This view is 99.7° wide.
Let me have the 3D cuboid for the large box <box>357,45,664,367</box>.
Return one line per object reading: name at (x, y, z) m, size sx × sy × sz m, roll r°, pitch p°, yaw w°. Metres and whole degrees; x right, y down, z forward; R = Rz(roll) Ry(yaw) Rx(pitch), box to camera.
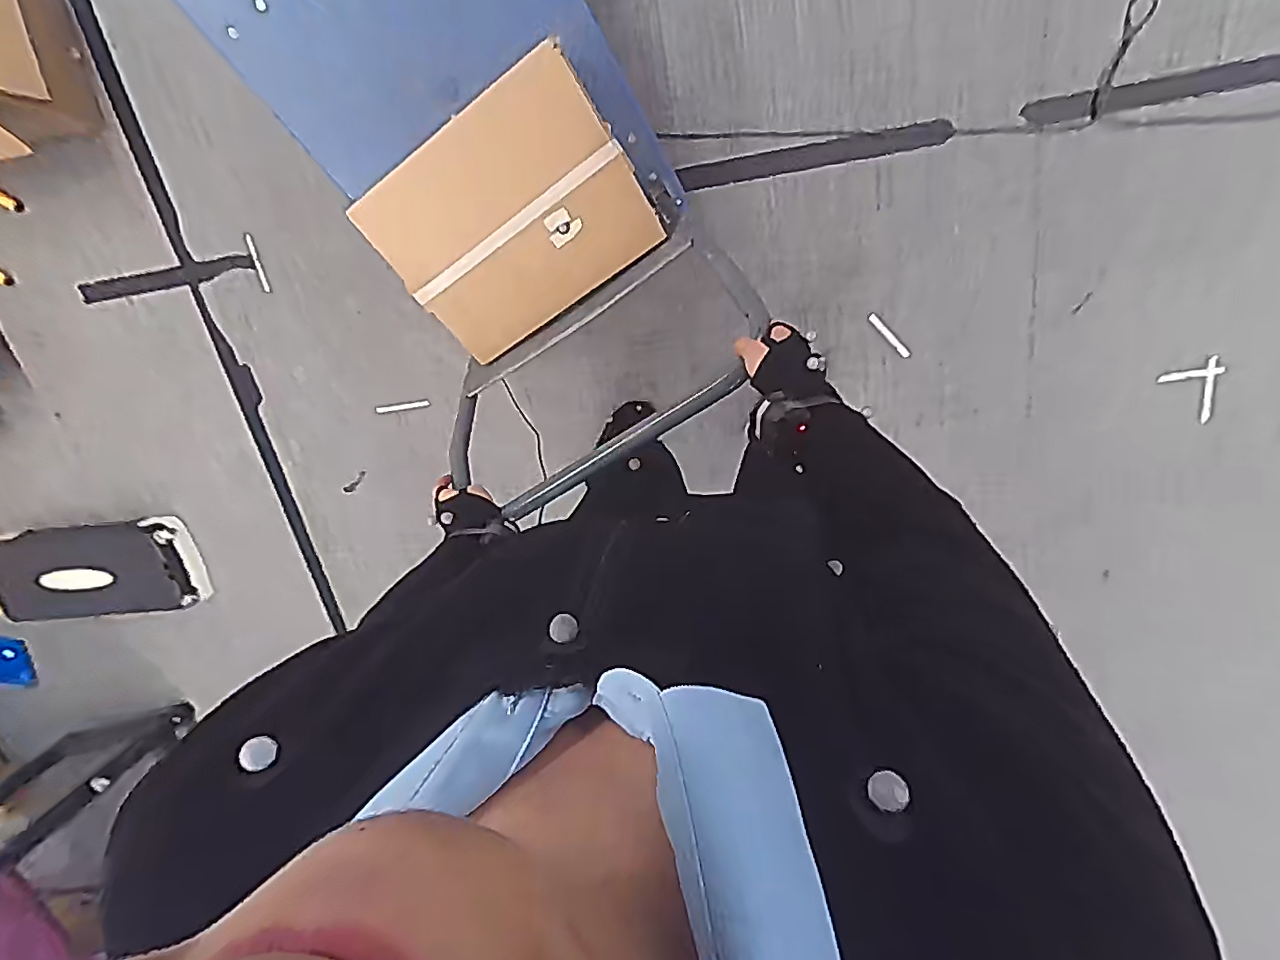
large box at (-0.220, -0.489, 0.999) m, size 0.408 × 0.320 × 0.320 m, roll -32°, pitch 124°, yaw 13°
